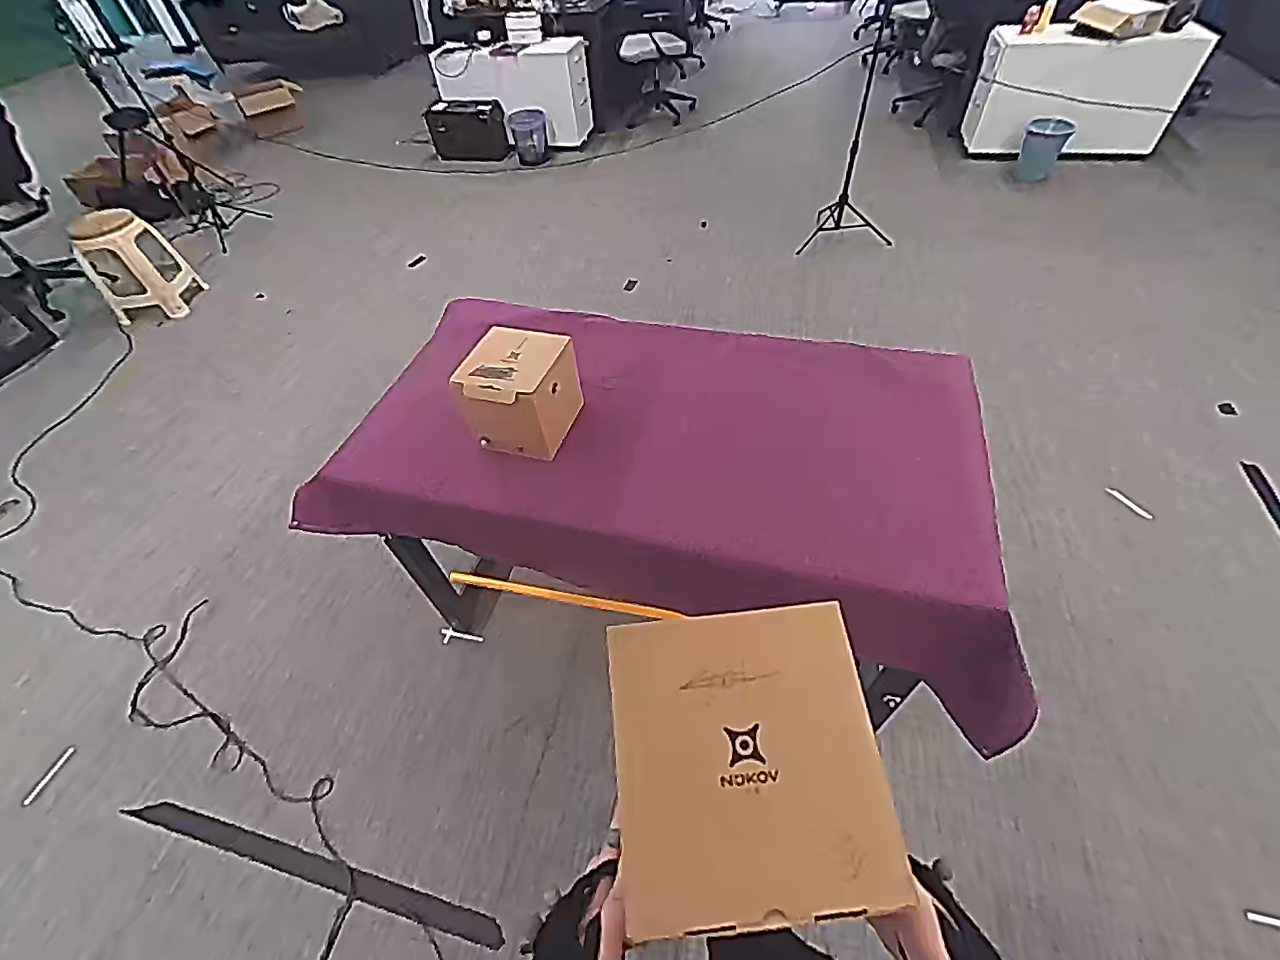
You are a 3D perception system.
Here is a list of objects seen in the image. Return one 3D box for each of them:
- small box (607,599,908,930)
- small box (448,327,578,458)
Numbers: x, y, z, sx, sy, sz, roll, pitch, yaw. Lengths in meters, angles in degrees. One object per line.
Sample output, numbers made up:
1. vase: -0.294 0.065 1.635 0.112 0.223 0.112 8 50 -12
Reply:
1. small box: 0.067 0.204 0.412 0.168 0.176 0.179 -6 62 -1
2. small box: -0.229 -0.165 1.036 0.168 0.176 0.179 11 51 14
